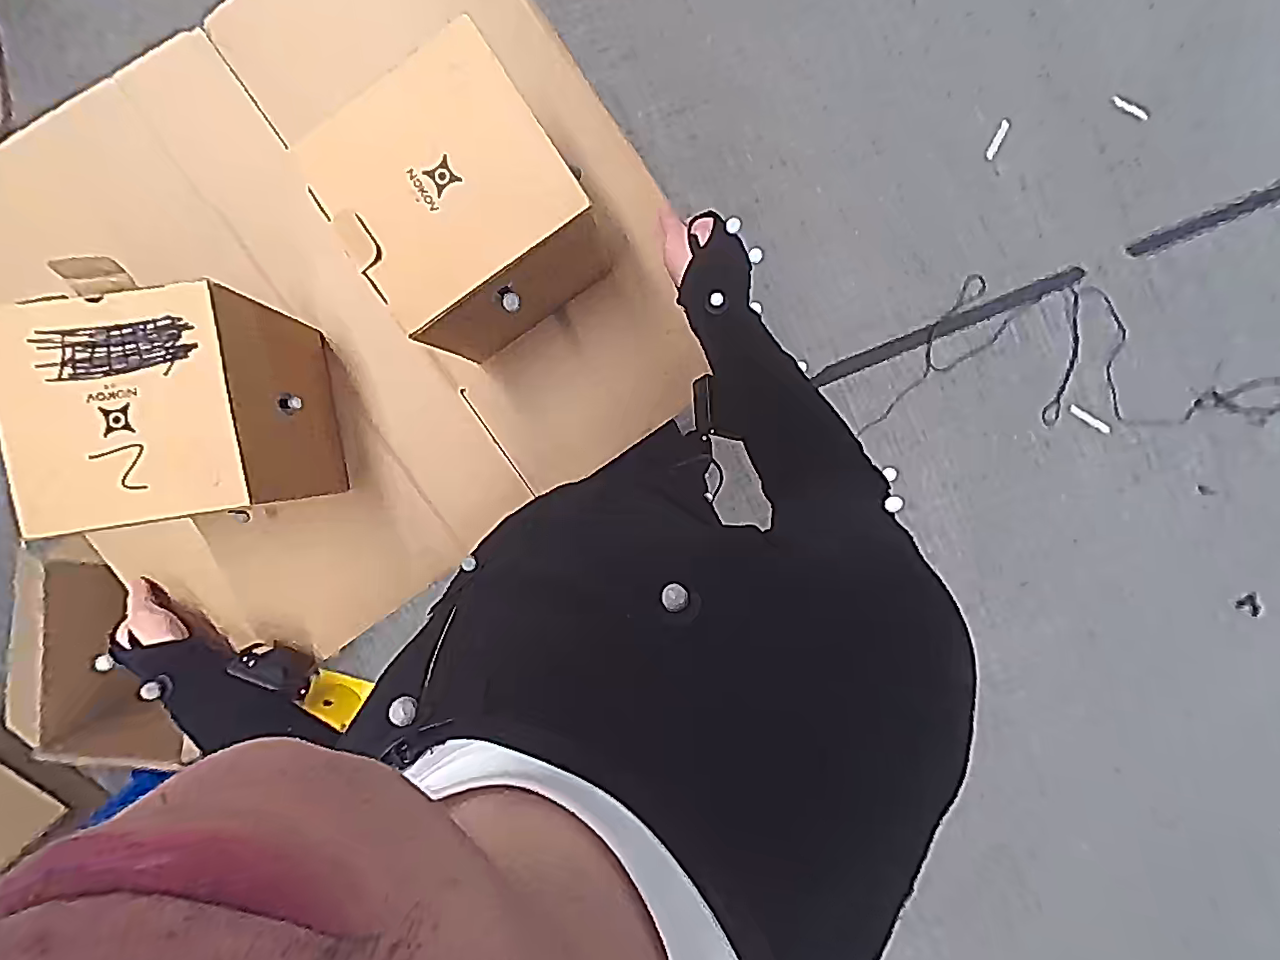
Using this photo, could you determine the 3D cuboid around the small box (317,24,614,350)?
[{"bbox_3d":[-0.135,-0.241,0.498,0.179,0.176,0.168,-33,94,6],"label":"small box"}]
